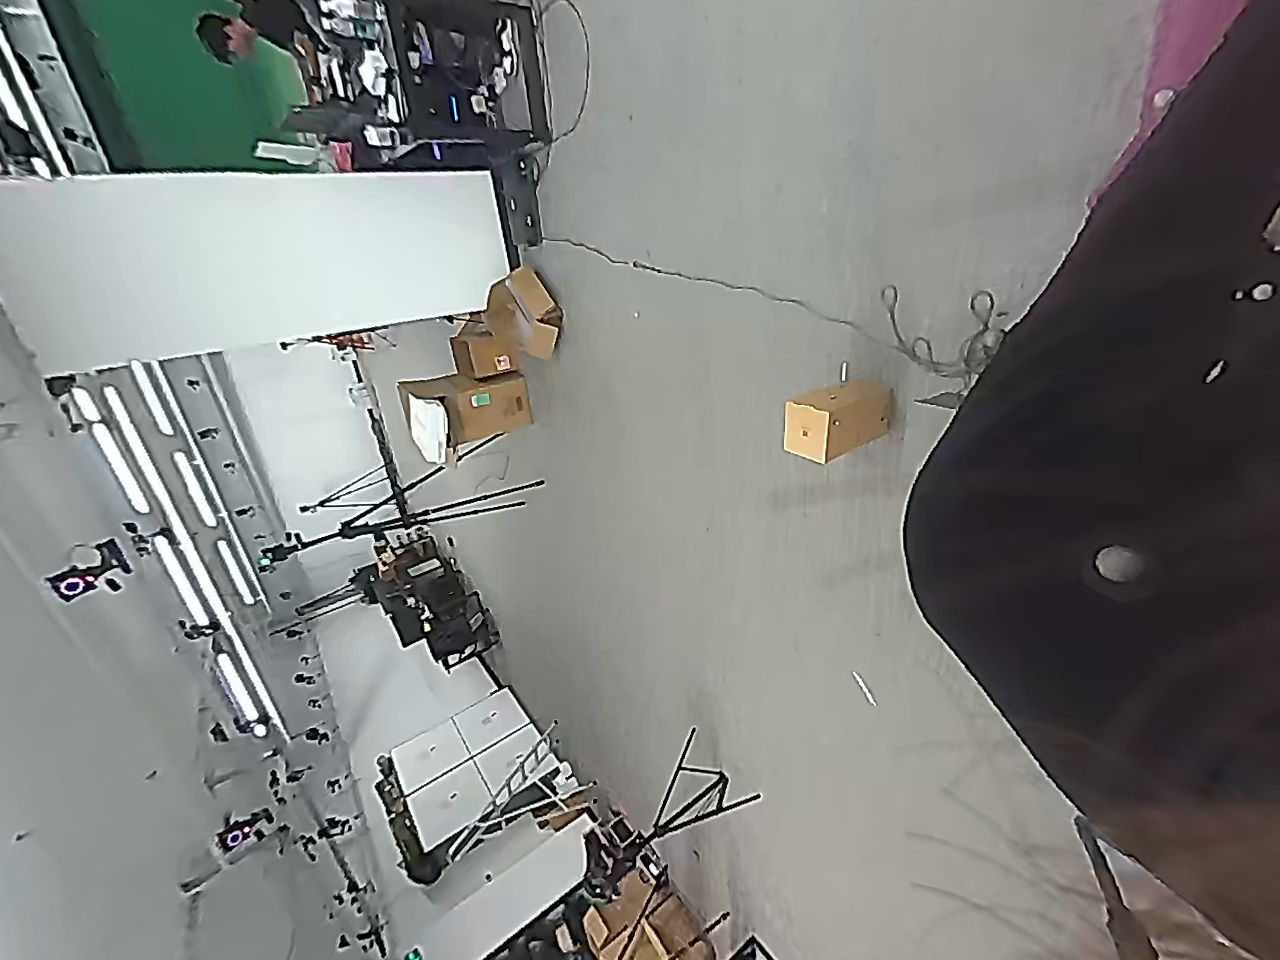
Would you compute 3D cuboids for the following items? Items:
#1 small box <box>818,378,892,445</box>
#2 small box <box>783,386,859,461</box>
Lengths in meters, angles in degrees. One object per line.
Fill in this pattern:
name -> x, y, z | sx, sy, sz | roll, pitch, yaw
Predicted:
small box -> 0.712, -0.237, 1.820 | 0.179, 0.176, 0.168 | 27, 131, 48
small box -> 0.582, -0.186, 1.738 | 0.168, 0.176, 0.179 | 29, 133, 48
